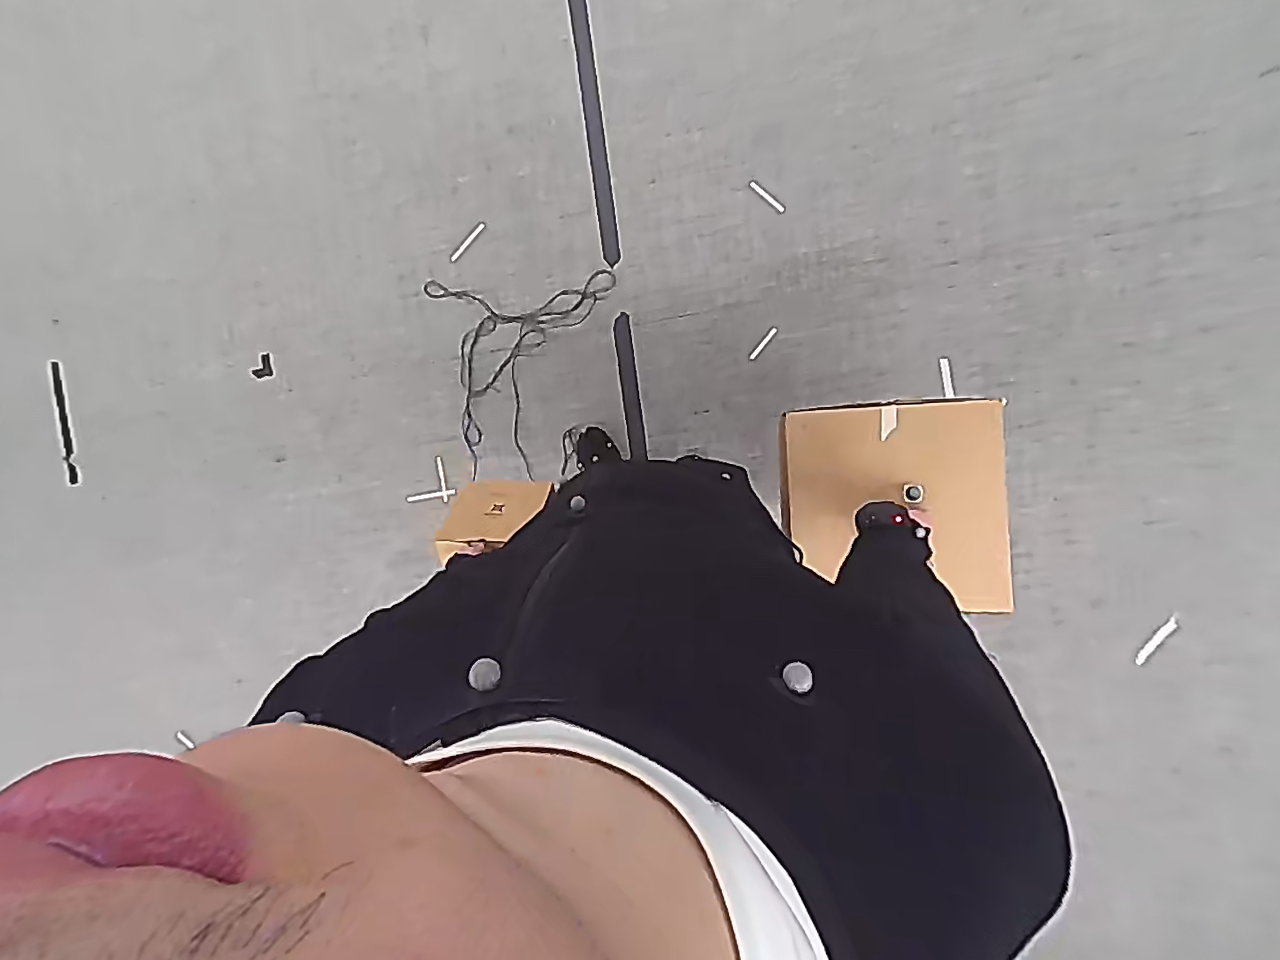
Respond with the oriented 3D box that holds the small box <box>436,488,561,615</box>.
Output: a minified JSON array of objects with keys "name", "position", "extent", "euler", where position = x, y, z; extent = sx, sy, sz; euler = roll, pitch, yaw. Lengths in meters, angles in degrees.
[{"name":"small box","position":[-0.248,0.130,0.998],"extent":[0.168,0.179,0.176],"euler":[1,121,5]}]
